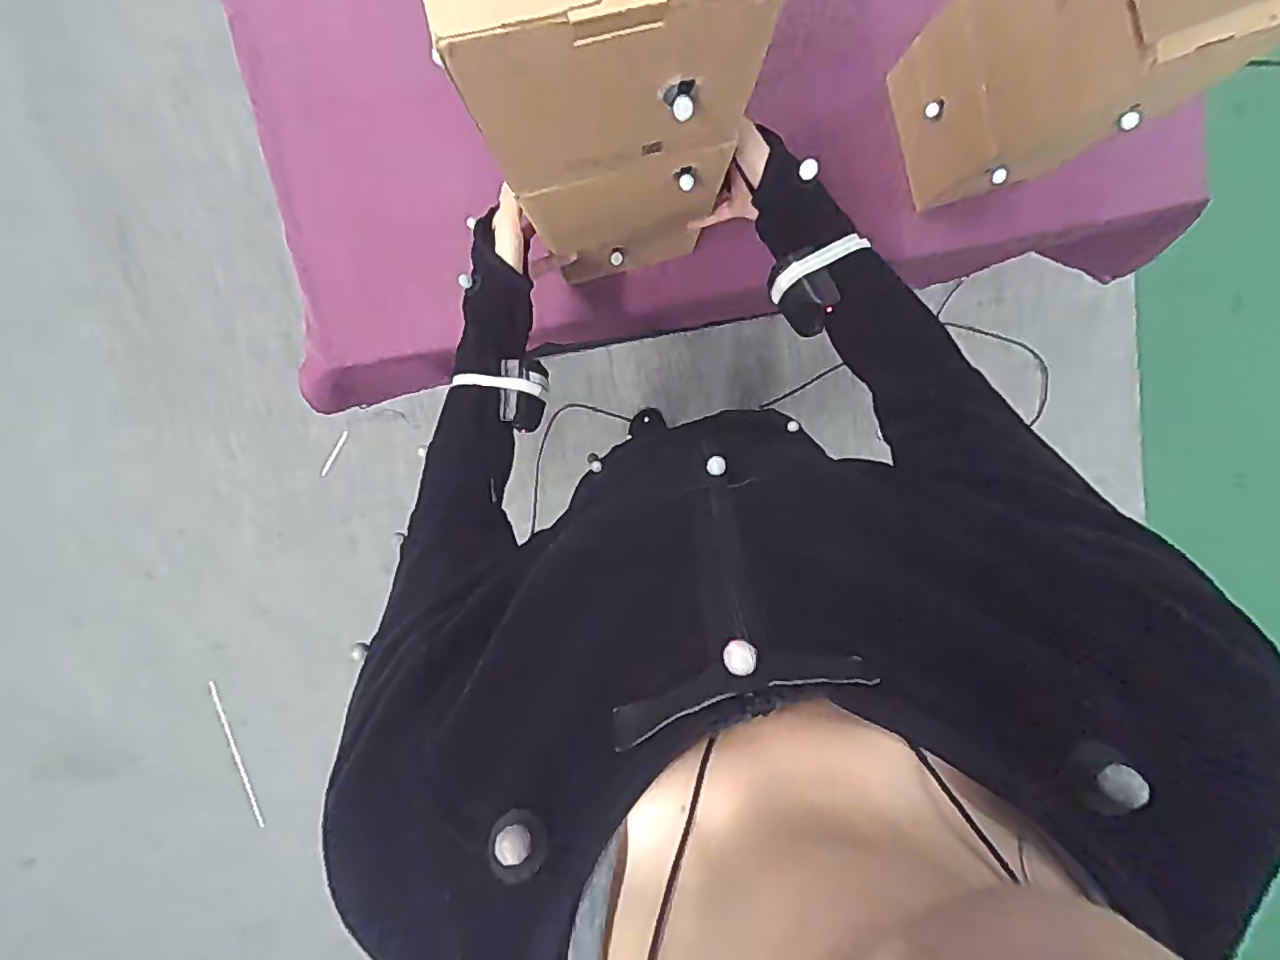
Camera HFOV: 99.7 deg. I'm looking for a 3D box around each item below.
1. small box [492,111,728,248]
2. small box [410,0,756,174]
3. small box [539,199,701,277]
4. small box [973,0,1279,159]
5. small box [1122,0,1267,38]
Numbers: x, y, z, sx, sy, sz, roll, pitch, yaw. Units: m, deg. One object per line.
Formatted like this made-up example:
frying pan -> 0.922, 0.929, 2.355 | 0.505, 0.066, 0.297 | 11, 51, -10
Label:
small box -> -0.037, -0.320, 0.466 | 0.179, 0.176, 0.168 | -14, 98, 1
small box -> -0.034, -0.300, 0.305 | 0.168, 0.176, 0.179 | -11, 97, 0
small box -> -0.037, -0.350, 0.626 | 0.179, 0.176, 0.168 | -14, 99, 2
small box -> 0.417, -0.416, 0.456 | 0.168, 0.176, 0.179 | -17, 98, 2
small box -> 0.408, -0.401, 0.292 | 0.179, 0.176, 0.168 | -19, 97, 3
